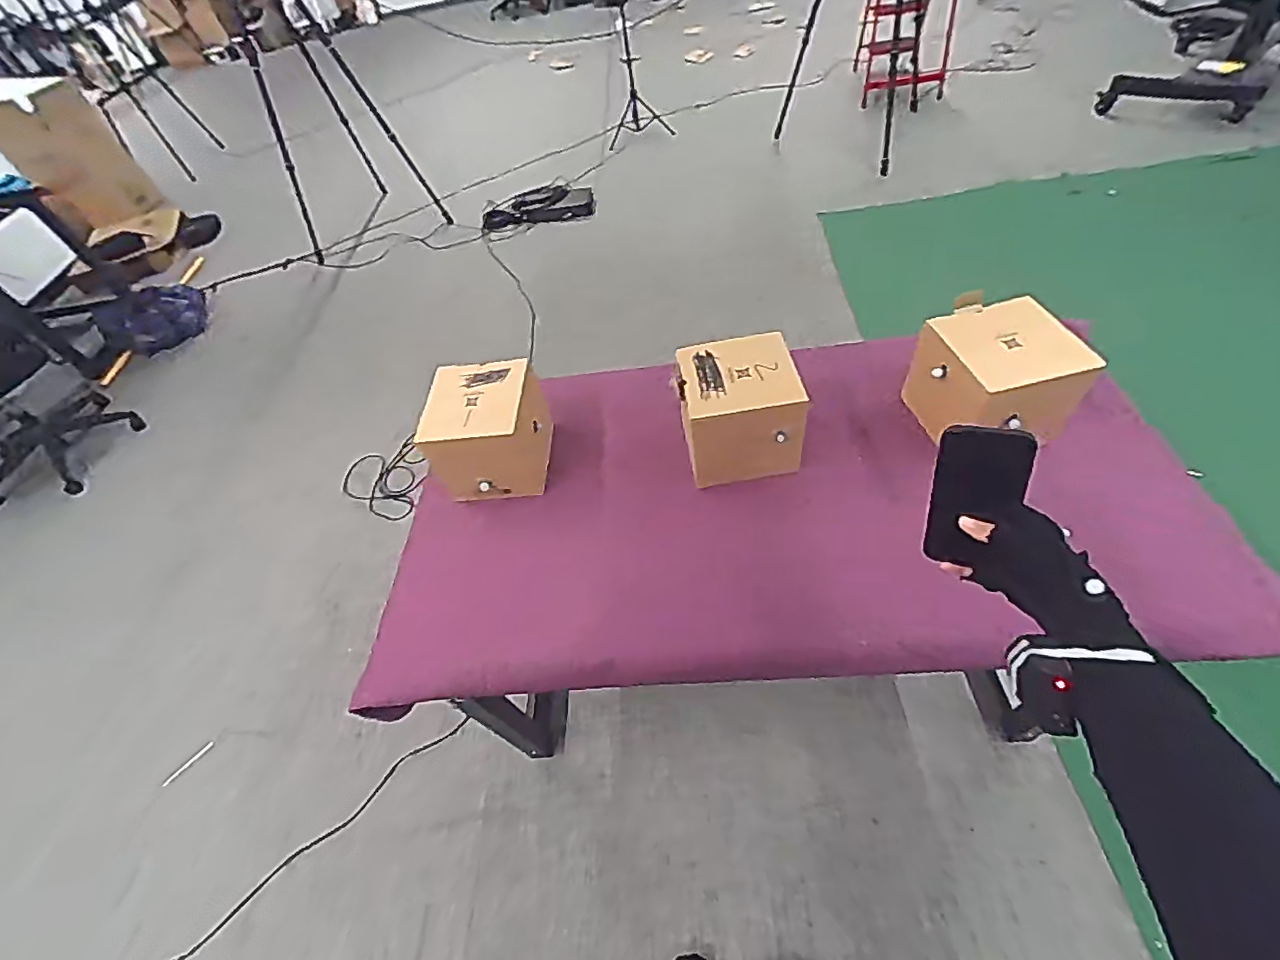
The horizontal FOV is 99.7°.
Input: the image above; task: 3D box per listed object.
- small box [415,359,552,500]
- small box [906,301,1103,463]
[{"bbox_3d":[-0.258,-0.085,0.941,0.168,0.176,0.179,-4,54,7],"label":"small box"},{"bbox_3d":[0.549,-0.145,0.846,0.168,0.176,0.179,-13,51,1],"label":"small box"}]
